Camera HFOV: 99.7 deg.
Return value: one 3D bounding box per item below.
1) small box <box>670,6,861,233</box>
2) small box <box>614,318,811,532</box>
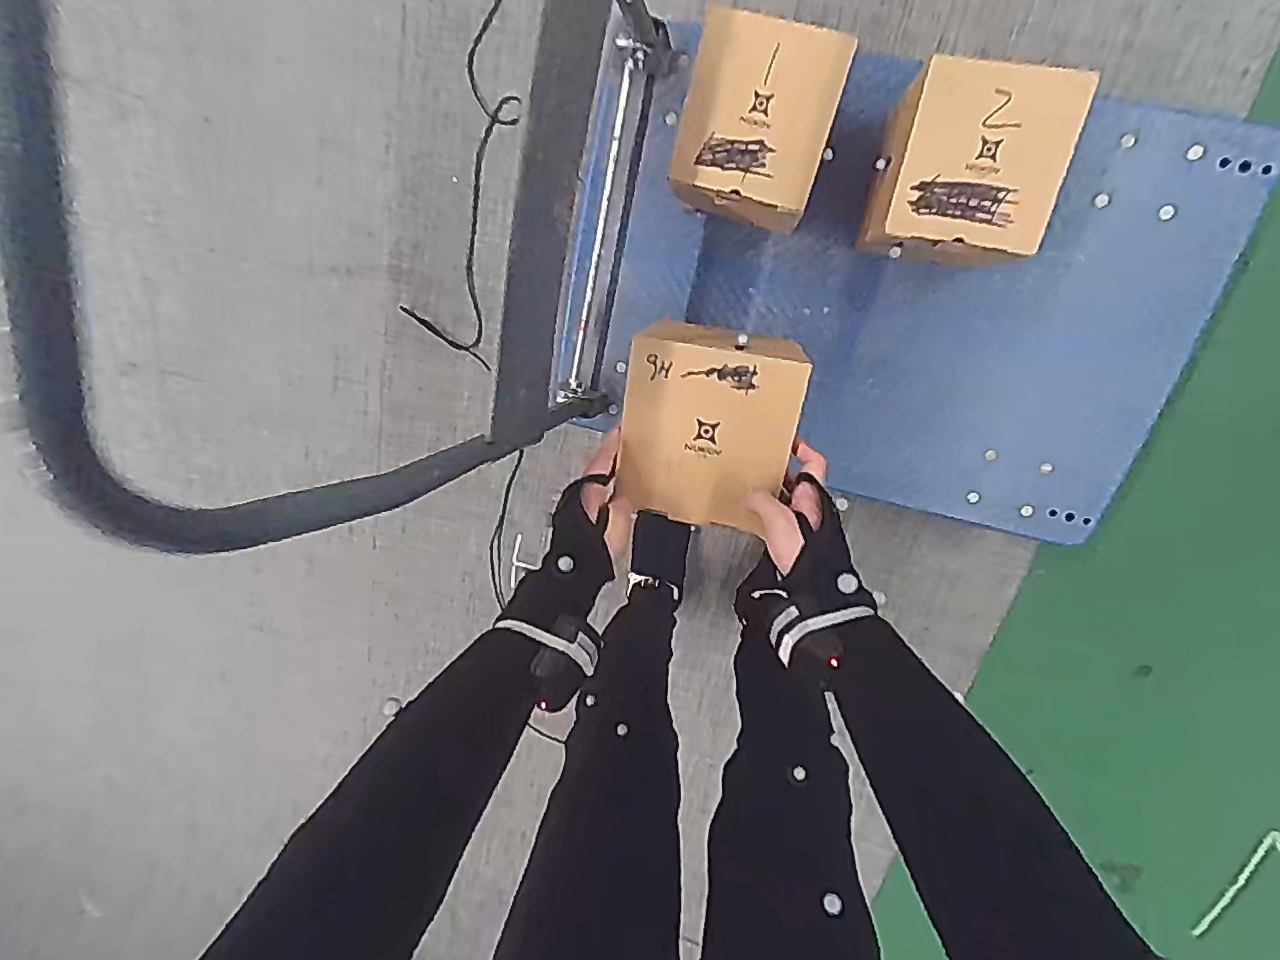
[{"bbox_3d":[0.147,-0.424,0.670,0.168,0.176,0.179,17,107,4],"label":"small box"},{"bbox_3d":[0.079,-0.071,0.597,0.168,0.176,0.179,12,113,7],"label":"small box"}]
